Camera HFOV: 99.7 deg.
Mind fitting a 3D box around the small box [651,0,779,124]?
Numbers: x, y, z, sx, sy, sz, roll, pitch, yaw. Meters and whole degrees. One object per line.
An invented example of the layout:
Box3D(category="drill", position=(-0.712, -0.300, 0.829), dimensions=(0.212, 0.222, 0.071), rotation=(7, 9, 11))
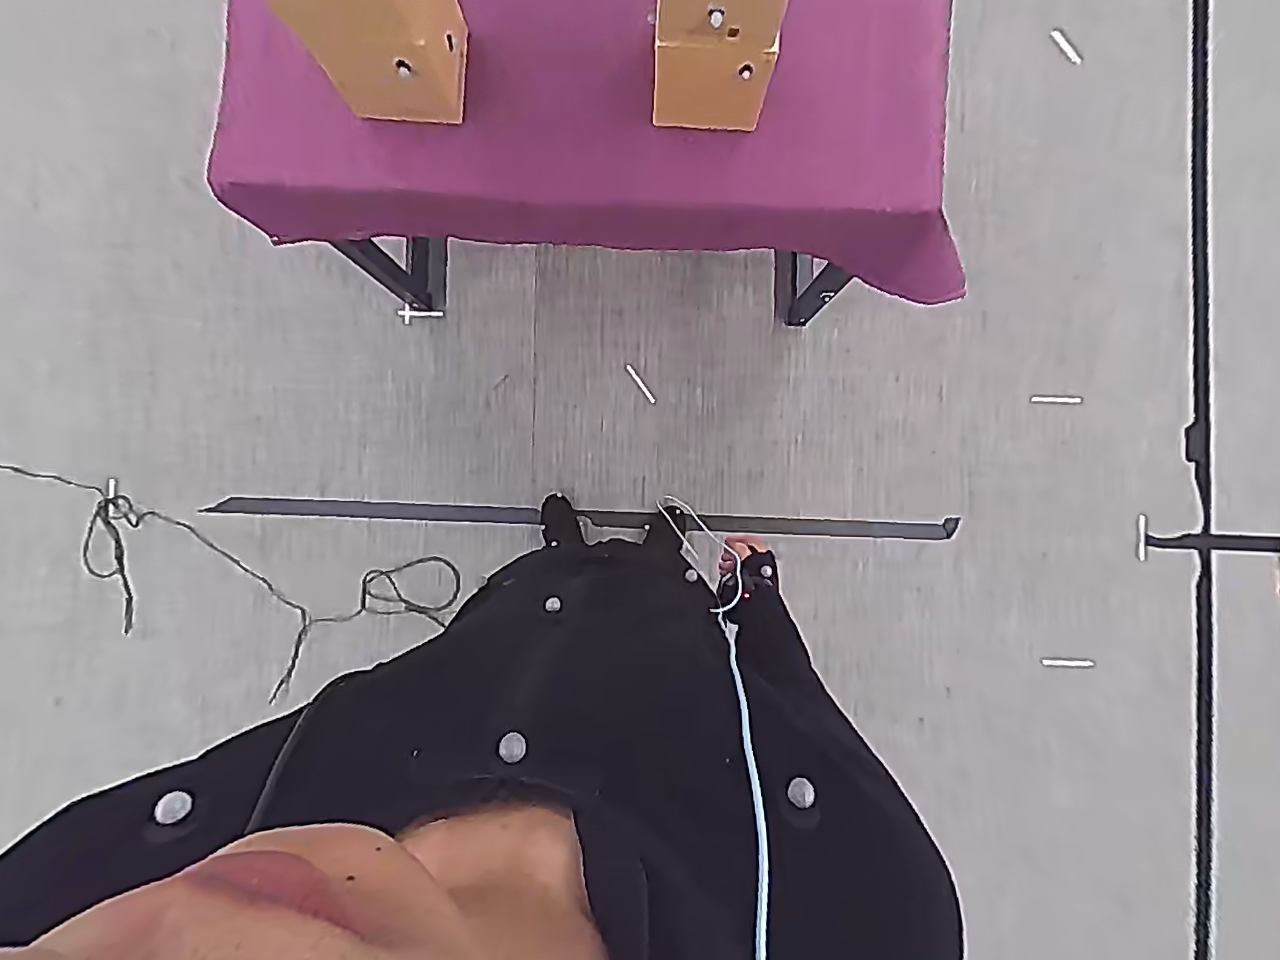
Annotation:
Box3D(category="small box", position=(0.109, -0.681, 0.828), dimensions=(0.179, 0.176, 0.168), rotation=(3, 89, -1))

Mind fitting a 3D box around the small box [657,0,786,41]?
Box3D(category="small box", position=(0.109, -0.695, 0.664), dimensions=(0.168, 0.176, 0.179), rotation=(3, 90, 0))

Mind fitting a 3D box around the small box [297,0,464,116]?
Box3D(category="small box", position=(-0.380, -0.690, 0.821), dimensions=(0.179, 0.176, 0.168), rotation=(4, 89, -1))
